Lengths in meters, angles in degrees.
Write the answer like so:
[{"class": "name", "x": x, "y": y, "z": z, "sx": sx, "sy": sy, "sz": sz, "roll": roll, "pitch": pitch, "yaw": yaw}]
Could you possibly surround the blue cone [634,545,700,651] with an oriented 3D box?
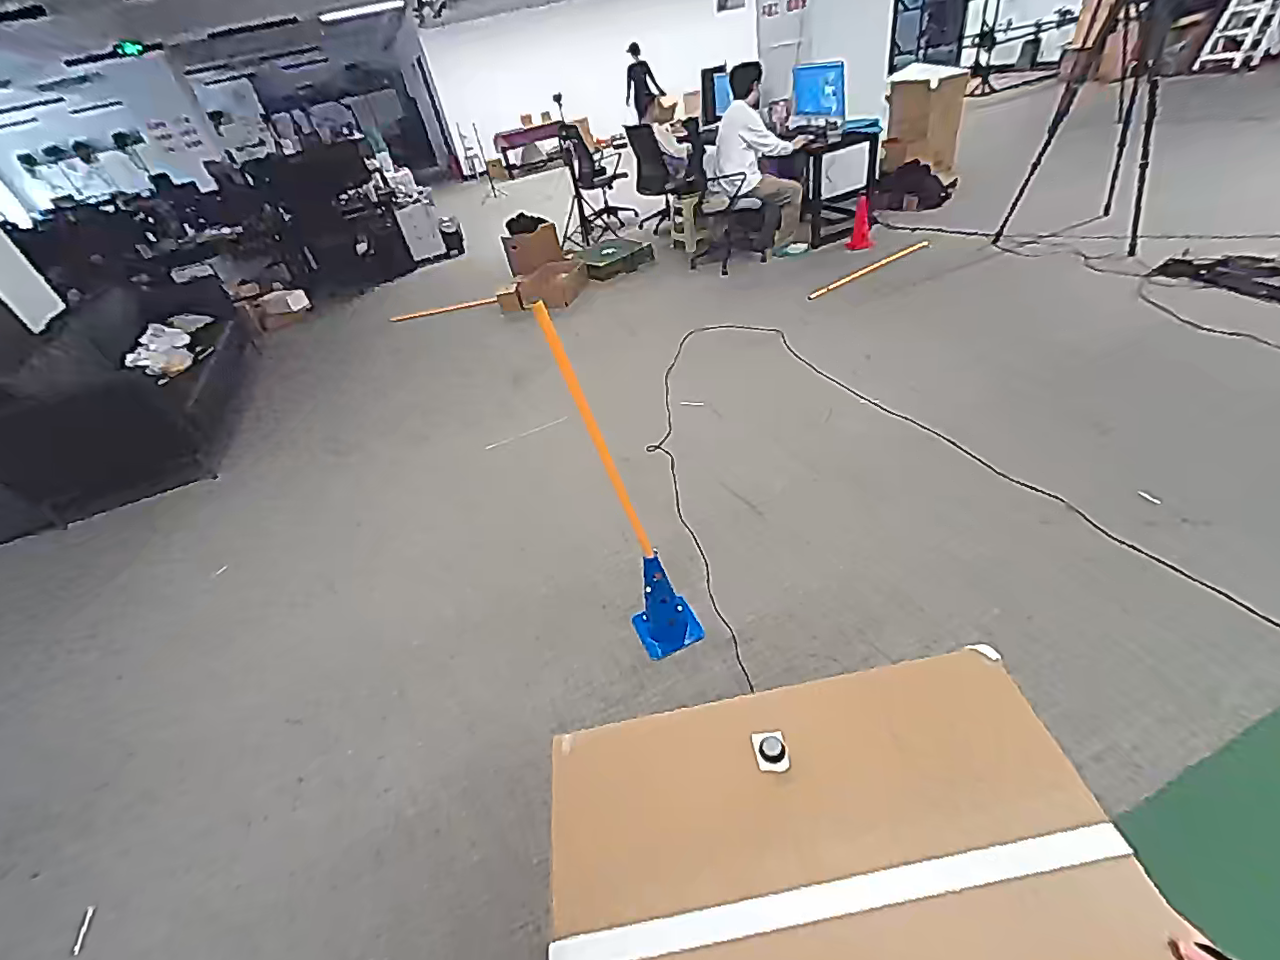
[{"class": "blue cone", "x": 0.057, "y": 0.351, "z": 1.711, "sx": 0.193, "sy": 0.380, "sz": 0.192, "roll": -25, "pitch": 39, "yaw": -13}]
